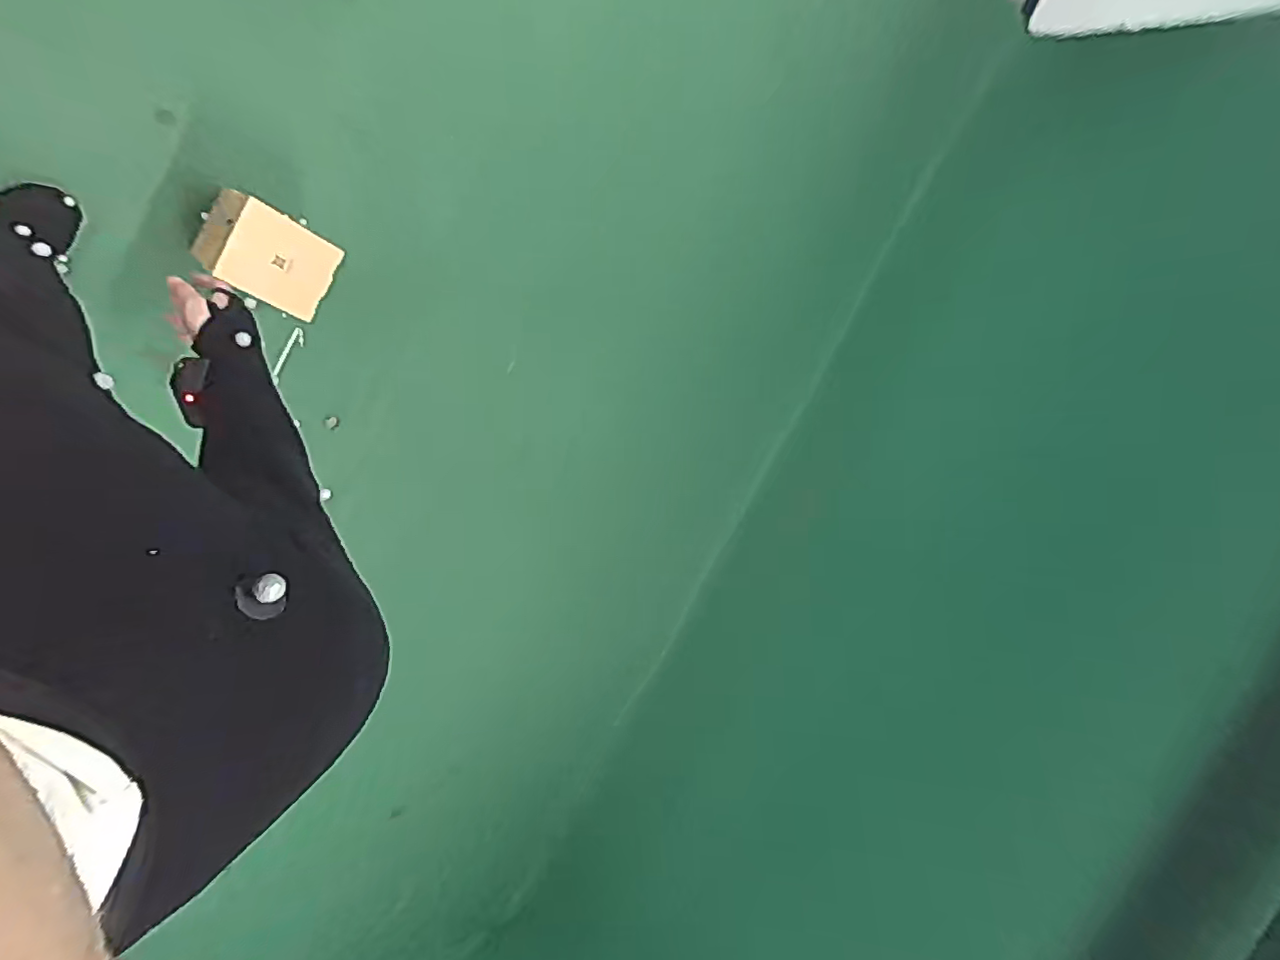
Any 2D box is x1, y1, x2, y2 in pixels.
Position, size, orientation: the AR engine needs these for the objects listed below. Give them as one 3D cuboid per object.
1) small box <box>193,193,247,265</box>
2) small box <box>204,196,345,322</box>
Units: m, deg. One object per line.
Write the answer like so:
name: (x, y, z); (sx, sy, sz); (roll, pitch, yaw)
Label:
small box: (-0.852, -0.515, 1.205); (0.179, 0.176, 0.168); (26, 93, -49)
small box: (-0.747, -0.449, 1.101); (0.179, 0.176, 0.168); (26, 93, -51)
